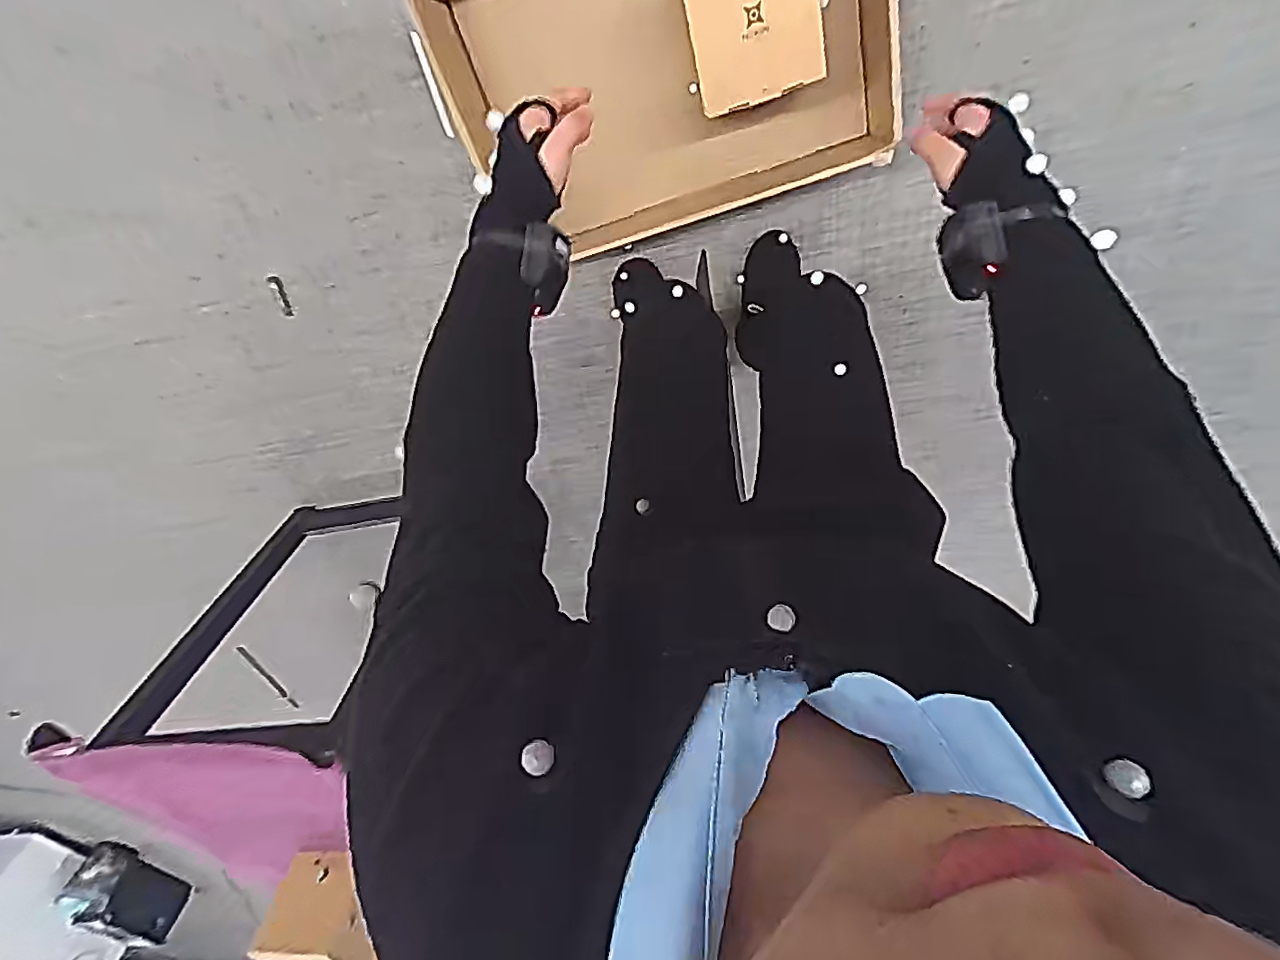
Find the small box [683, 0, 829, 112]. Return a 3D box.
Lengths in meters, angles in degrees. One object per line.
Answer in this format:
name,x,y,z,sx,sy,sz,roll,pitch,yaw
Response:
small box,0.153,-0.638,0.748,0.168,0.176,0.179,-12,125,14
